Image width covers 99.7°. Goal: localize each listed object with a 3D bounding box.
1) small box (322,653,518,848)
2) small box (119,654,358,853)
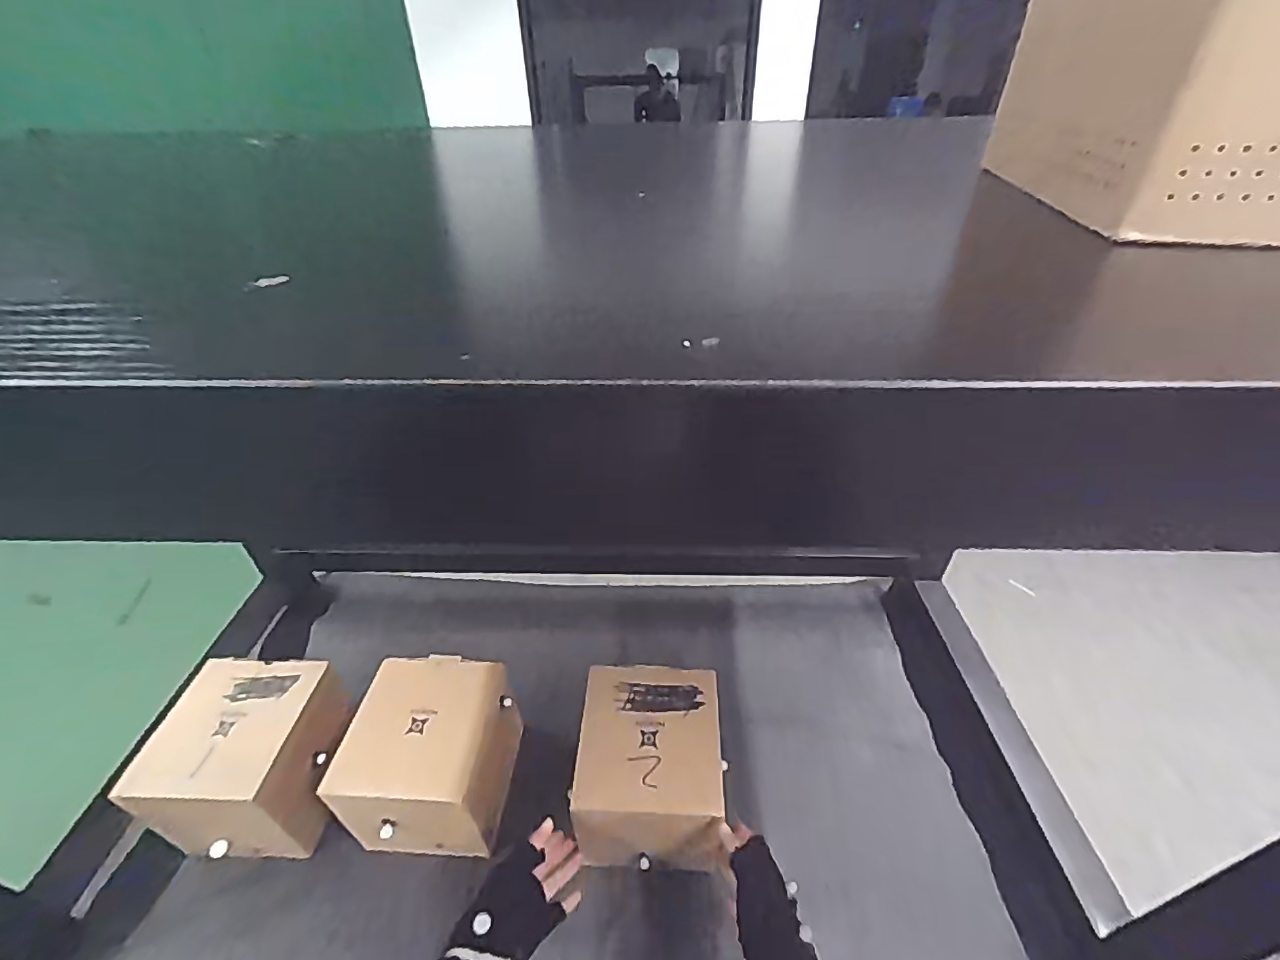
[{"bbox_3d":[-0.266,0.353,0.708,0.168,0.176,0.179,1,36,3],"label":"small box"},{"bbox_3d":[-0.493,0.353,0.708,0.168,0.176,0.179,1,37,2],"label":"small box"}]
